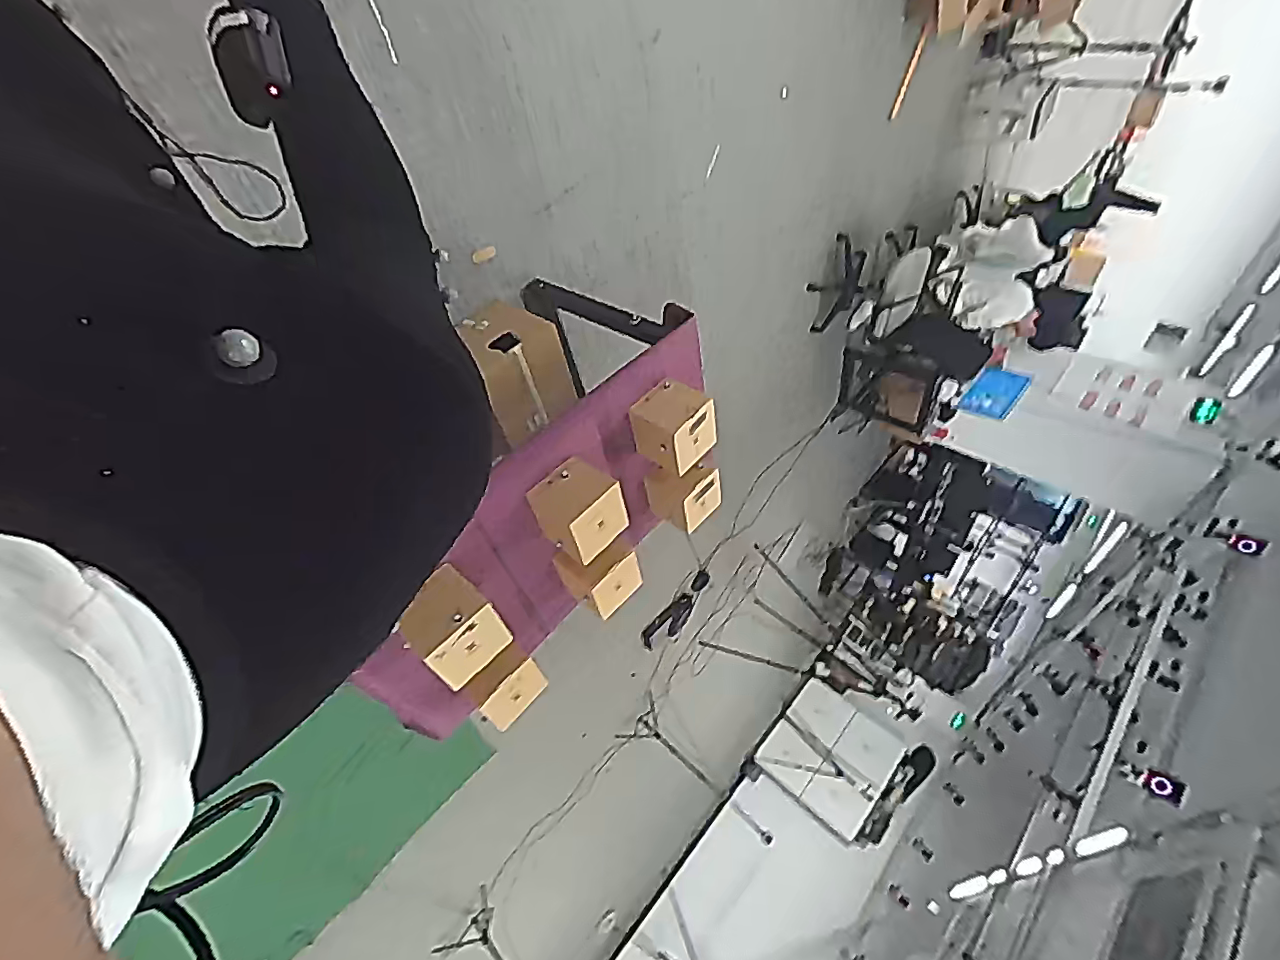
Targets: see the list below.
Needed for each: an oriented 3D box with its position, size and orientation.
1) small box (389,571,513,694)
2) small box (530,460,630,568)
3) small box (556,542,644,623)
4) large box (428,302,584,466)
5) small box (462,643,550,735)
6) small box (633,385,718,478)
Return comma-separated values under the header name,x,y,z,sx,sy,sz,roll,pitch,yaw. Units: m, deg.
name,x,y,z,sx,sy,sz,roll,pitch,yaw
small box,-0.418,0.334,1.204,0.168,0.176,0.179,-43,146,-25
small box,-0.149,0.081,1.361,0.168,0.176,0.179,-42,144,-25
small box,-0.115,0.269,1.559,0.168,0.176,0.179,-41,142,-25
large box,-0.446,-0.330,1.857,0.320,0.320,0.408,-42,145,-23
small box,-0.370,0.521,1.415,0.168,0.176,0.179,-43,143,-25
small box,0.098,-0.143,1.503,0.168,0.176,0.179,-43,145,-22
